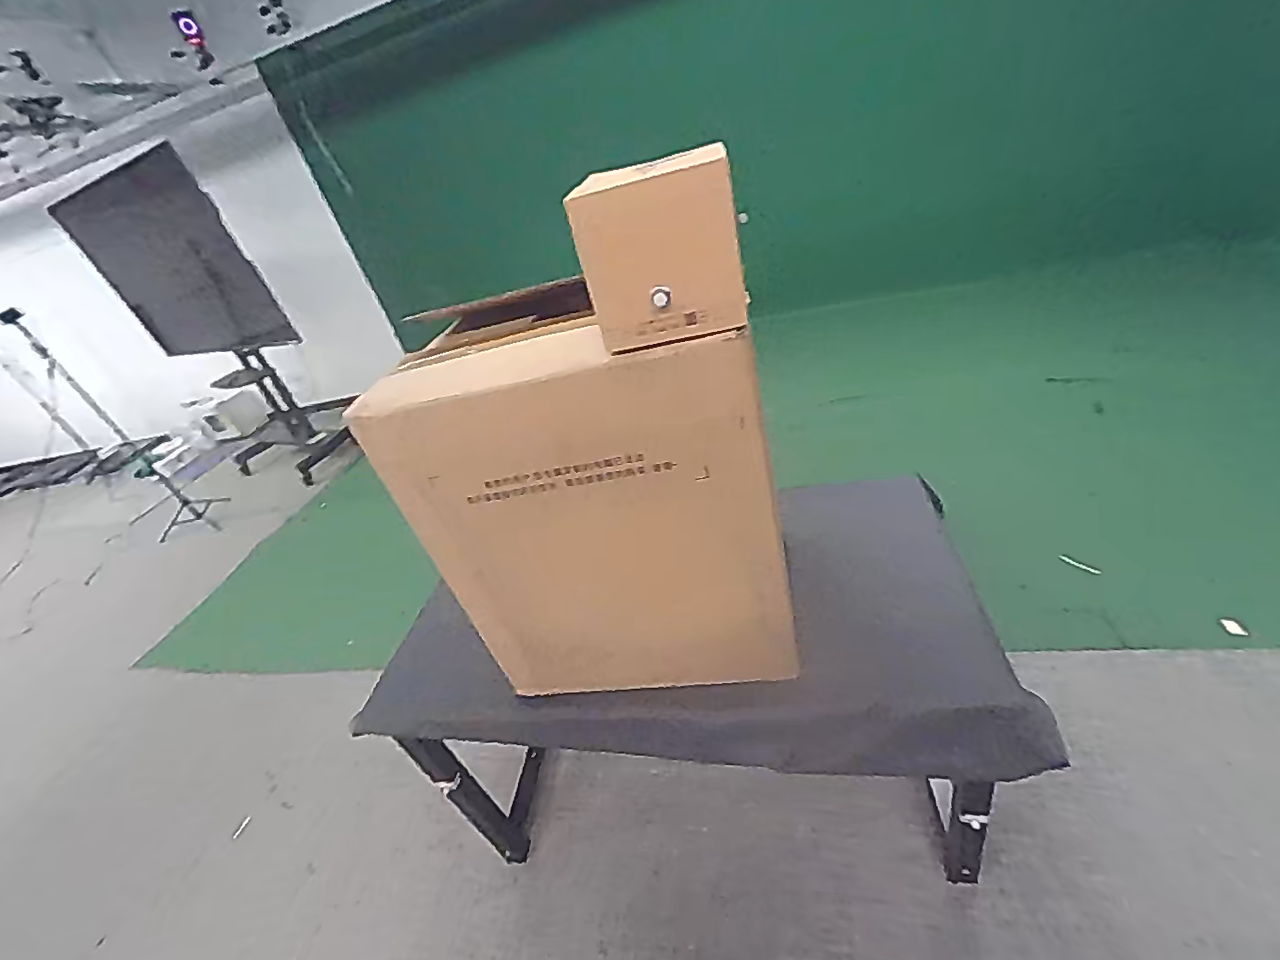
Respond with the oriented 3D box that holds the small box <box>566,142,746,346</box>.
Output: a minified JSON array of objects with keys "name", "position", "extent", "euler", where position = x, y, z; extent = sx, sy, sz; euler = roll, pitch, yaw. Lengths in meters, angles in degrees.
[{"name":"small box","position":[0.030,-0.276,0.636],"extent":[0.168,0.176,0.179],"euler":[-8,36,12]}]
